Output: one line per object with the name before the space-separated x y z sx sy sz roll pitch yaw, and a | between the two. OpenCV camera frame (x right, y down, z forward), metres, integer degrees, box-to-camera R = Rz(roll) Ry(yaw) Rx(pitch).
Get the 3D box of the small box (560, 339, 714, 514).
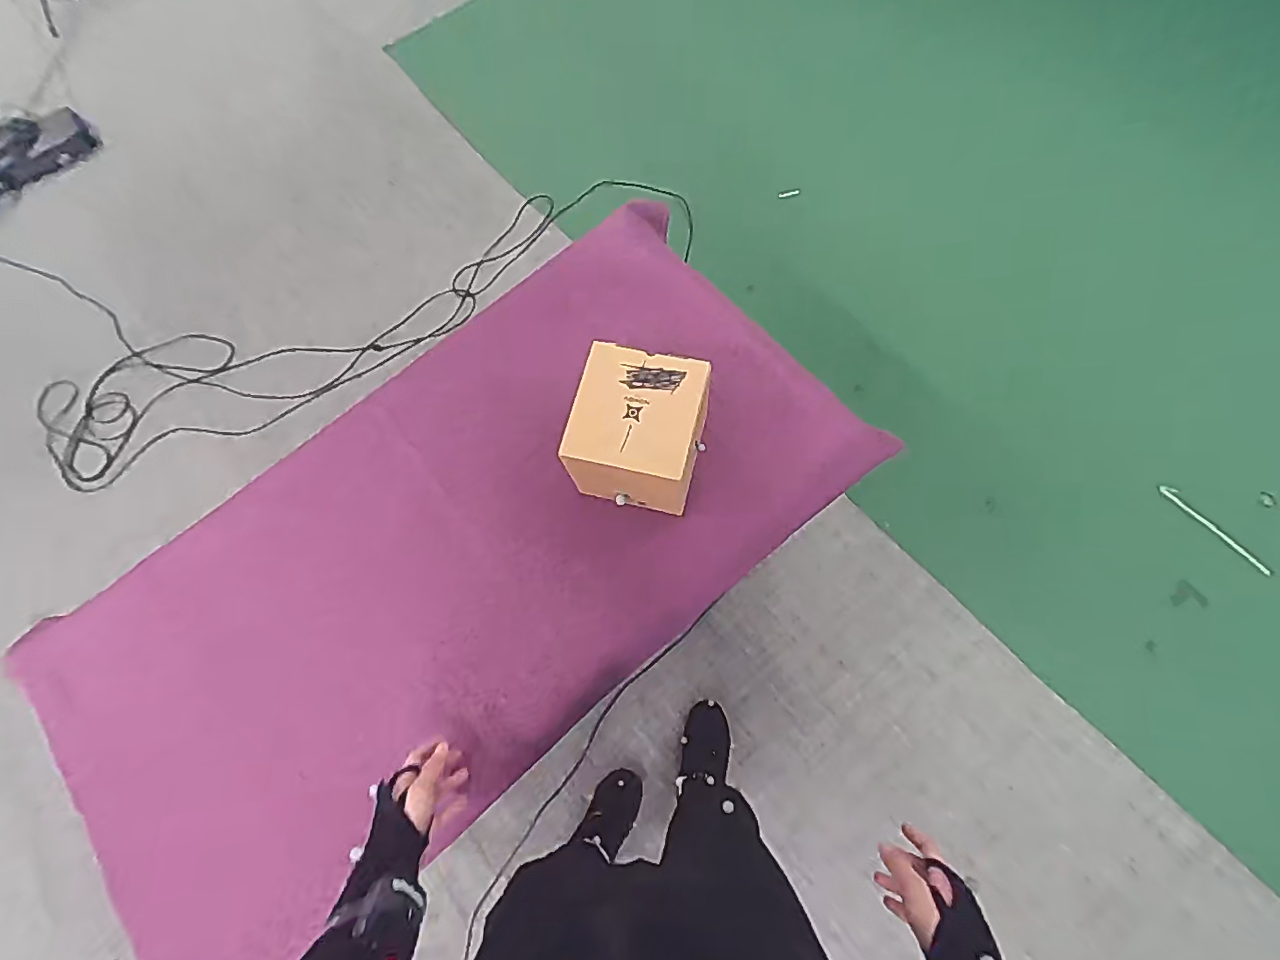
small box | 0.002 -0.069 0.775 0.168 0.176 0.179 13 74 9
